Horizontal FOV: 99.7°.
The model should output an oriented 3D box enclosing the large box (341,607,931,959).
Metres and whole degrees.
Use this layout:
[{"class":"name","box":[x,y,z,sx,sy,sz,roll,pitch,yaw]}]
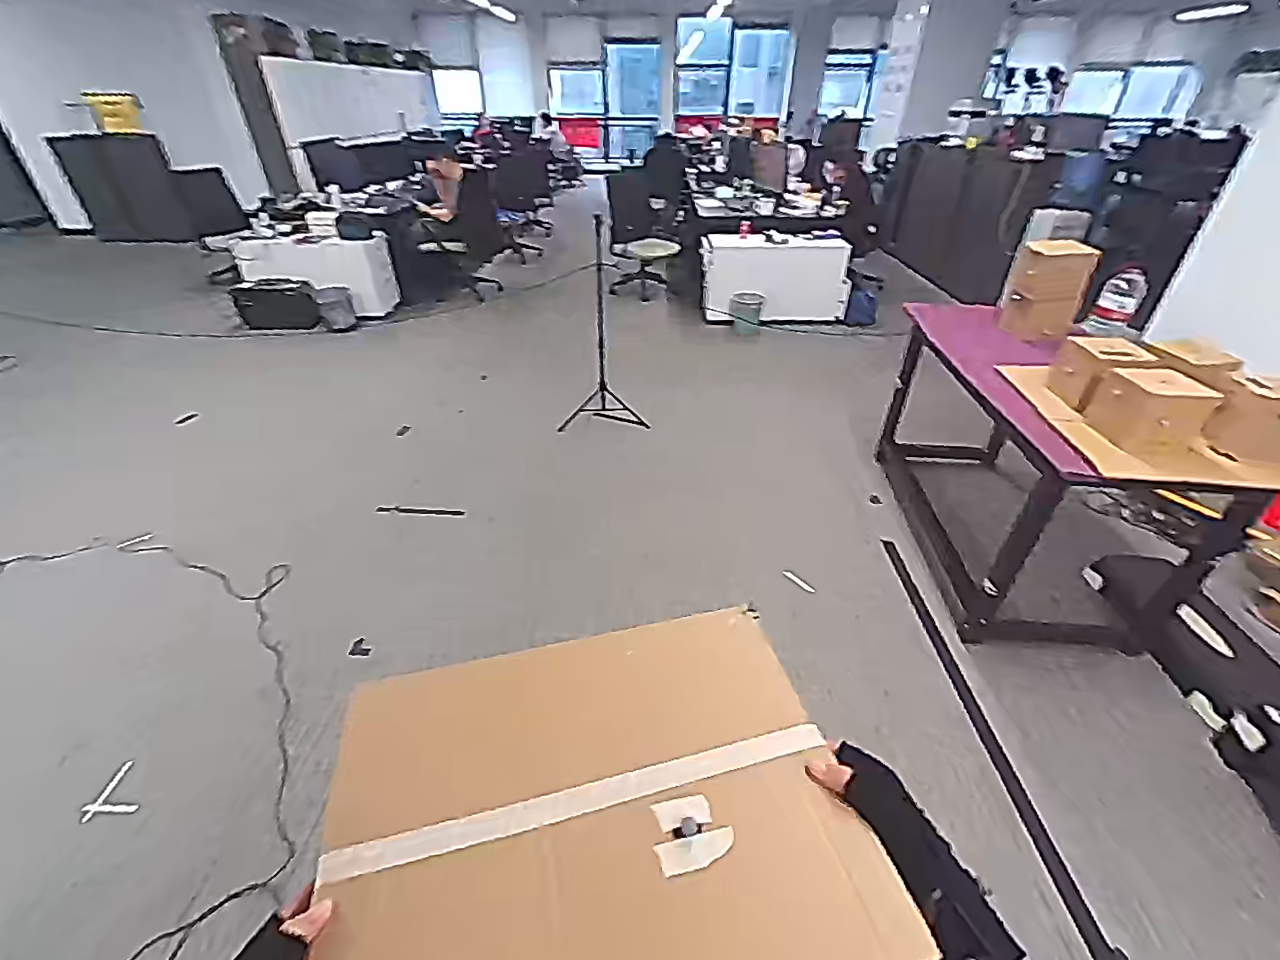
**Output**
[{"class":"large box","box":[-0.025,0.377,0.536,0.408,0.320,0.320,-8,37,-11]}]
